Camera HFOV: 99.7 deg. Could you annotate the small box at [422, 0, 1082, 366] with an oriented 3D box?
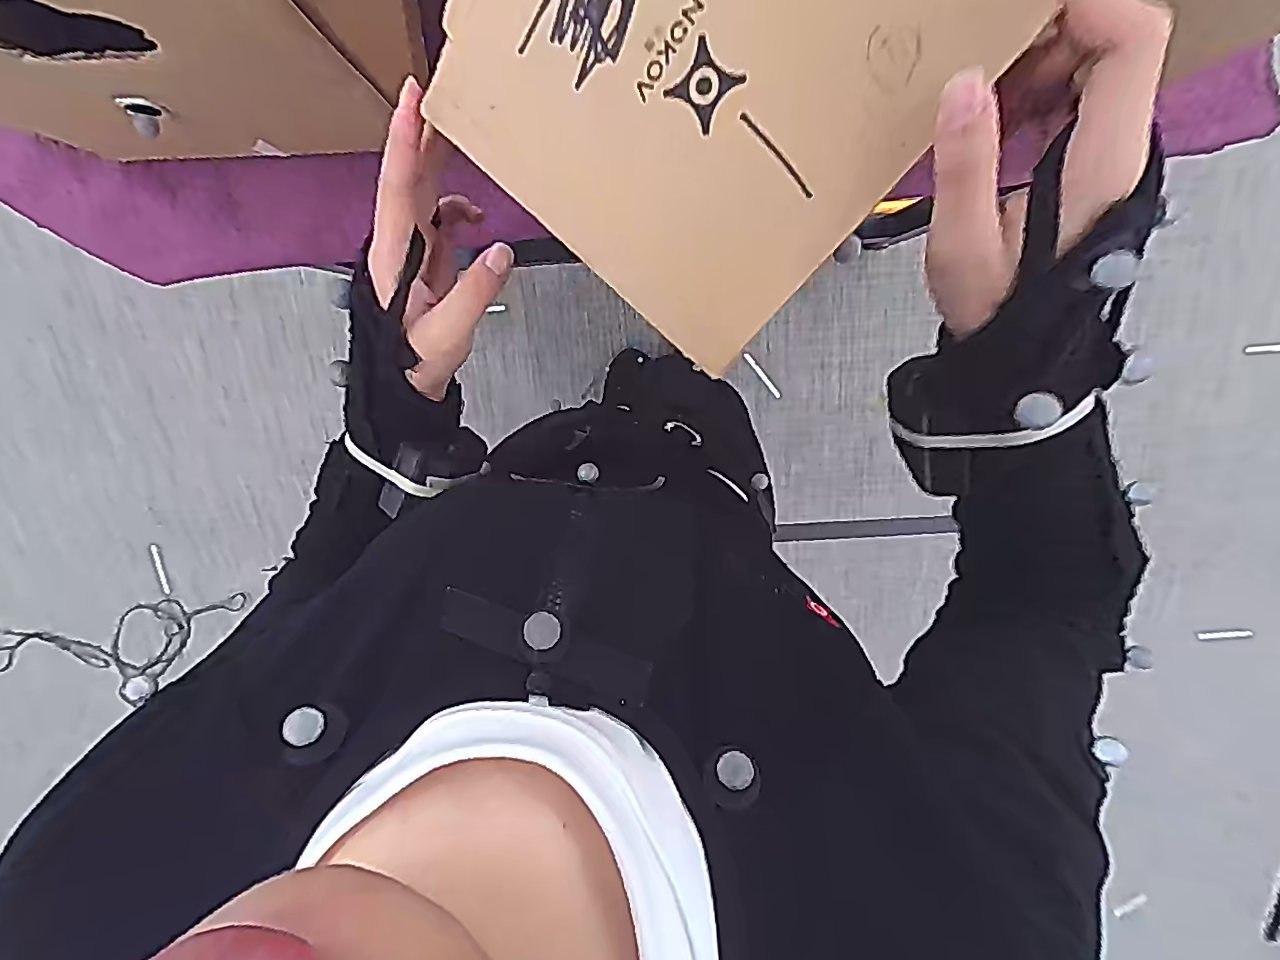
[{"bbox_3d":[0.043,-0.186,0.261,0.179,0.176,0.168,41,119,-5],"label":"small box"}]
